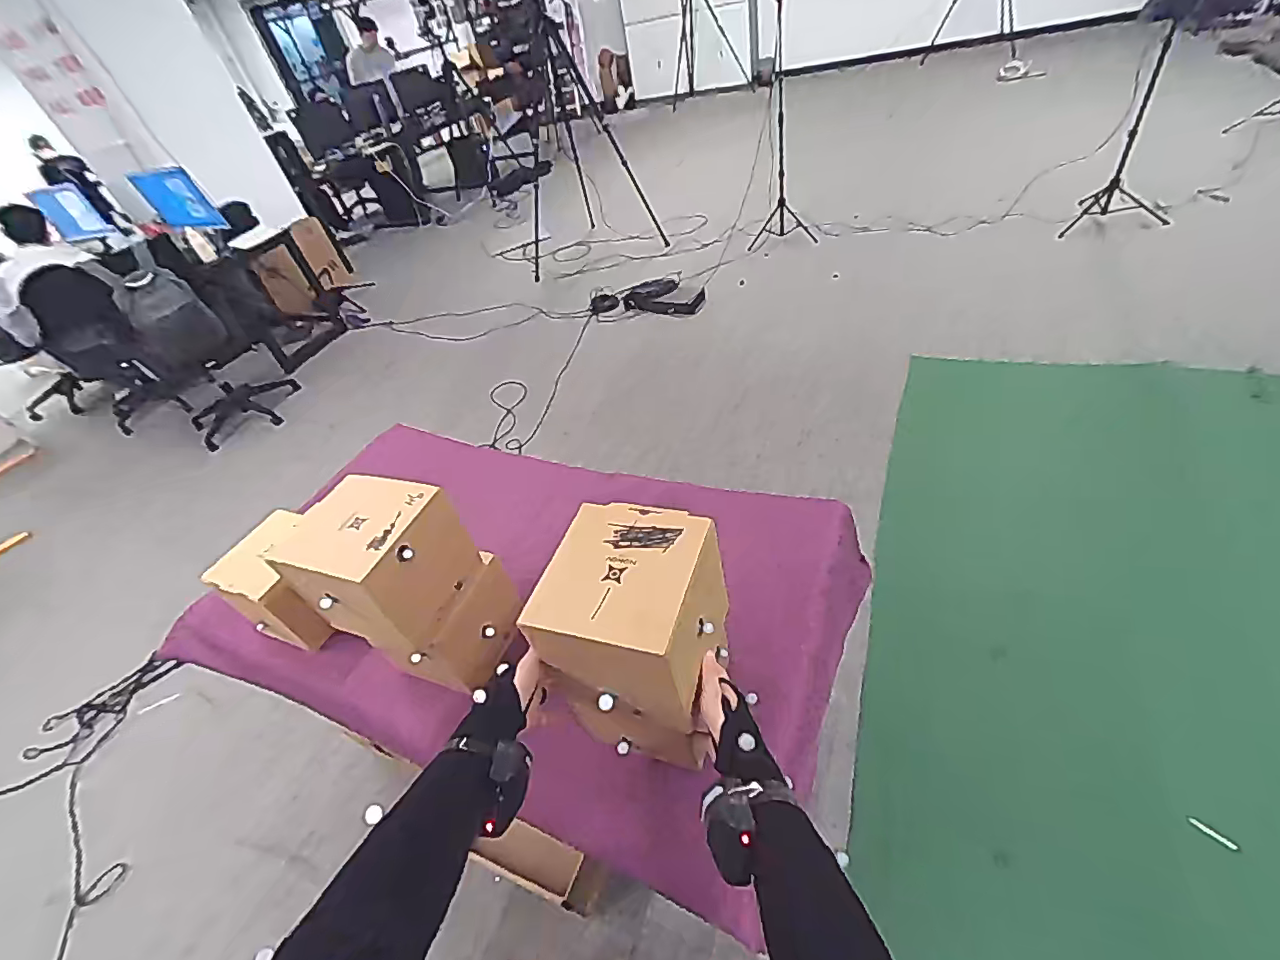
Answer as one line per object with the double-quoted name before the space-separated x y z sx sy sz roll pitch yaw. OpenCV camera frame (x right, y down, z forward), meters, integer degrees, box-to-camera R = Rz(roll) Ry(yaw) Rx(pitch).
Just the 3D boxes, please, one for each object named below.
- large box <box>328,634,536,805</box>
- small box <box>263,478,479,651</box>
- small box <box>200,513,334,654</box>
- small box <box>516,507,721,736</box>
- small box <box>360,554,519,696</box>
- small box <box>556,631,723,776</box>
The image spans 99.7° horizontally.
"large box" -0.551 0.613 1.524 0.320 0.320 0.408 8 48 23
"small box" -0.365 0.118 0.763 0.179 0.176 0.168 6 46 23
"small box" -0.648 0.192 1.014 0.168 0.176 0.179 9 47 23
"small box" -0.008 0.156 0.620 0.168 0.176 0.179 4 44 23
"small box" -0.323 0.226 0.882 0.179 0.176 0.168 7 45 23
"small box" 0.013 0.267 0.741 0.168 0.176 0.179 5 45 23
